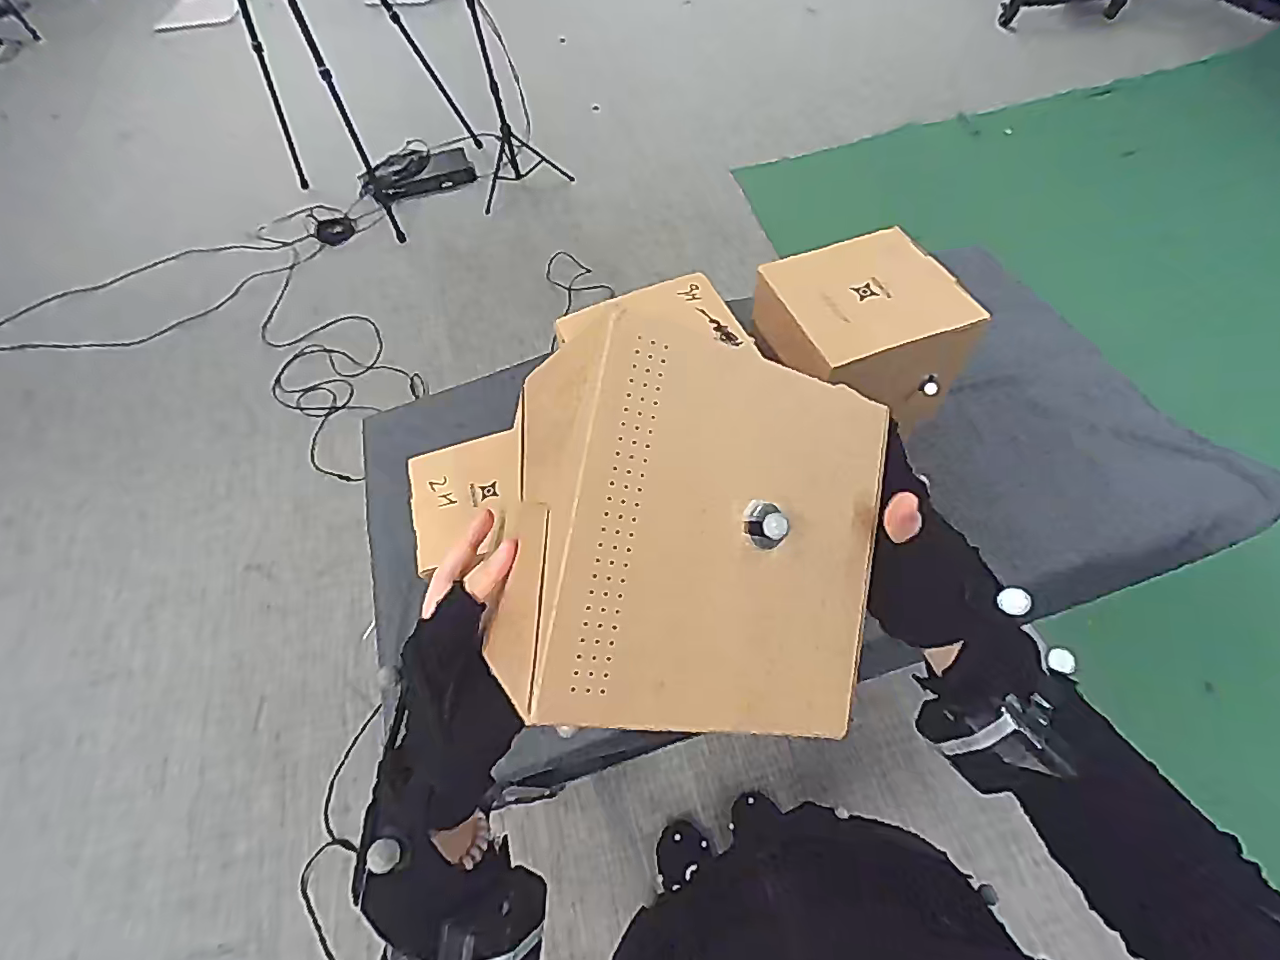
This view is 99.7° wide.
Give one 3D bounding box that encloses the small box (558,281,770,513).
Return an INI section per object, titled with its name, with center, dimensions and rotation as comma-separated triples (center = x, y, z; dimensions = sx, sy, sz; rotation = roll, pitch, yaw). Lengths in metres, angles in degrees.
[small box]
center = 0.027, -0.087, 0.619
dimensions = 0.179, 0.176, 0.168
rotation = -21, 60, -7
